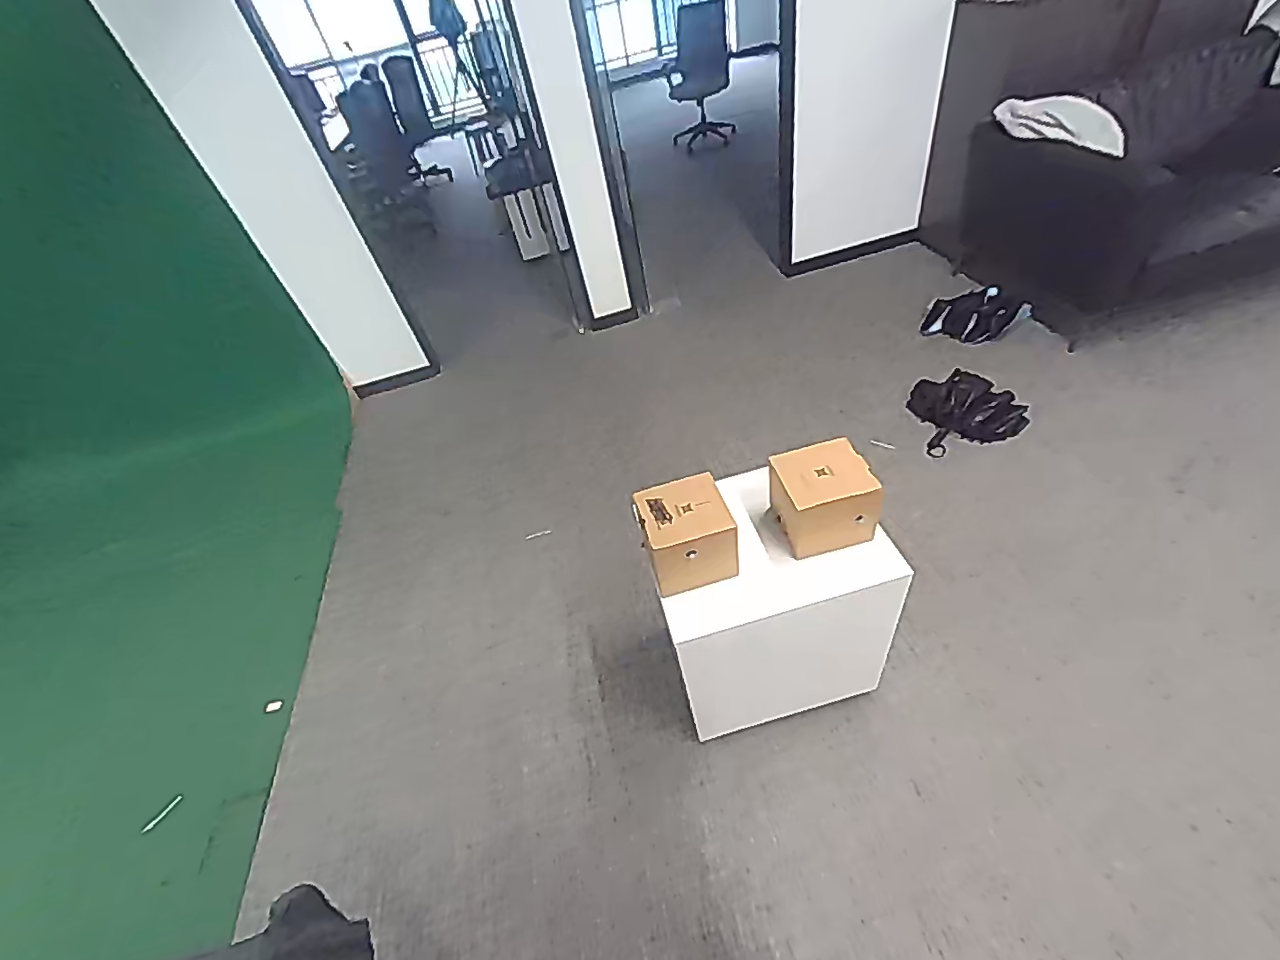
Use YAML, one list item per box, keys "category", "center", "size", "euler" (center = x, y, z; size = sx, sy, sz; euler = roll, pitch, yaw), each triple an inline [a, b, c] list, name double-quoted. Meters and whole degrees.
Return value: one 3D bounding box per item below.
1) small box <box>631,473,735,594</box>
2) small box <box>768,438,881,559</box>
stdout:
- category: "small box"
  center: [0.094, 0.117, 1.146]
  size: [0.179, 0.176, 0.168]
  euler: [-15, 45, -5]
- category: "small box"
  center: [0.382, 0.042, 1.153]
  size: [0.179, 0.176, 0.168]
  euler: [-15, 44, 0]
